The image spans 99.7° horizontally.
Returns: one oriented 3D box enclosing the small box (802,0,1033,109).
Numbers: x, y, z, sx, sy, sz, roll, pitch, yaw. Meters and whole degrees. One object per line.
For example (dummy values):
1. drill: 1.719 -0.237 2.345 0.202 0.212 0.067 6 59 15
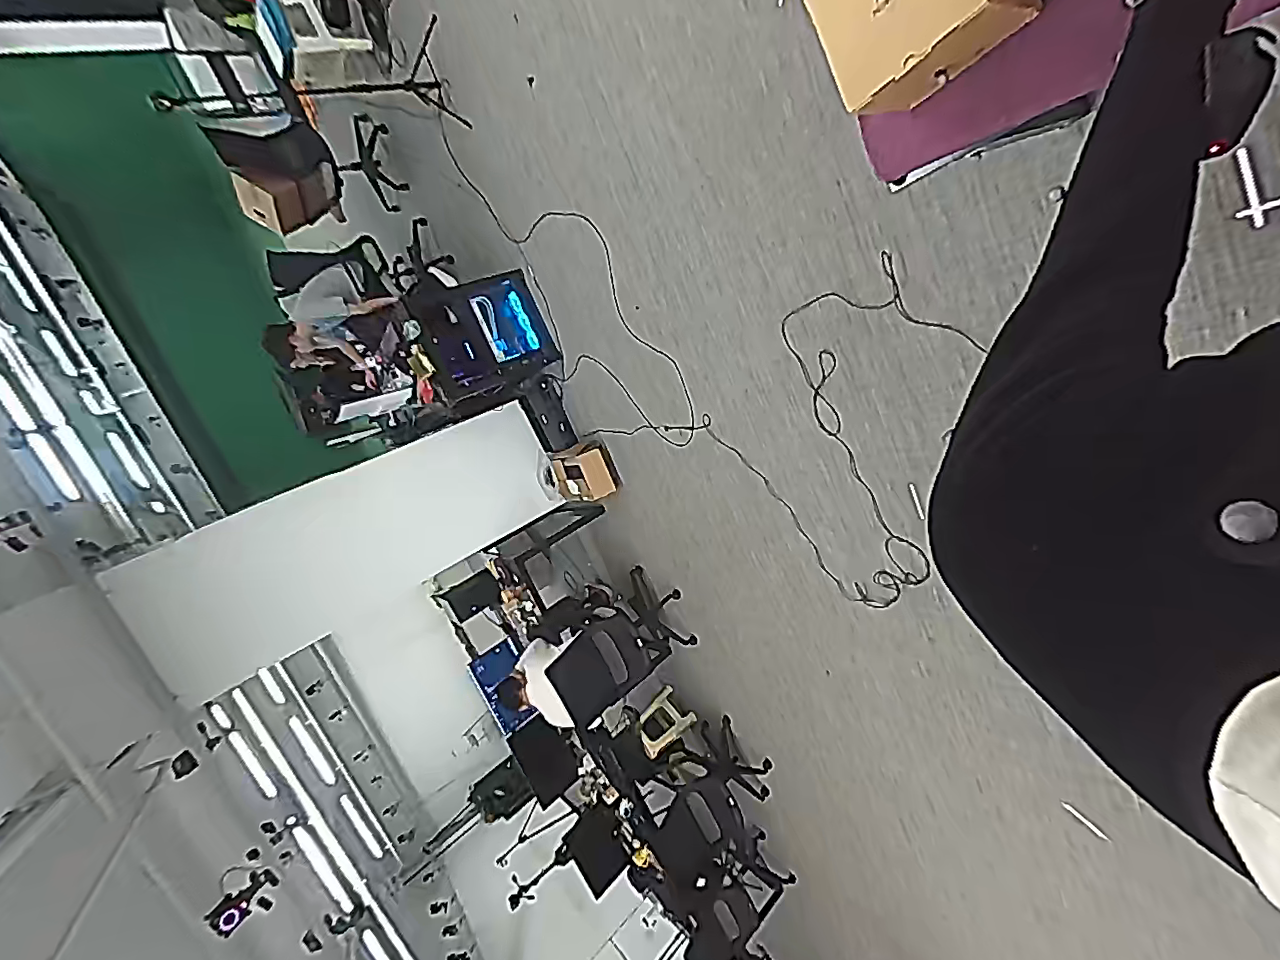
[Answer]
1. small box: 0.320 -0.578 0.634 0.168 0.176 0.179 -15 104 56
